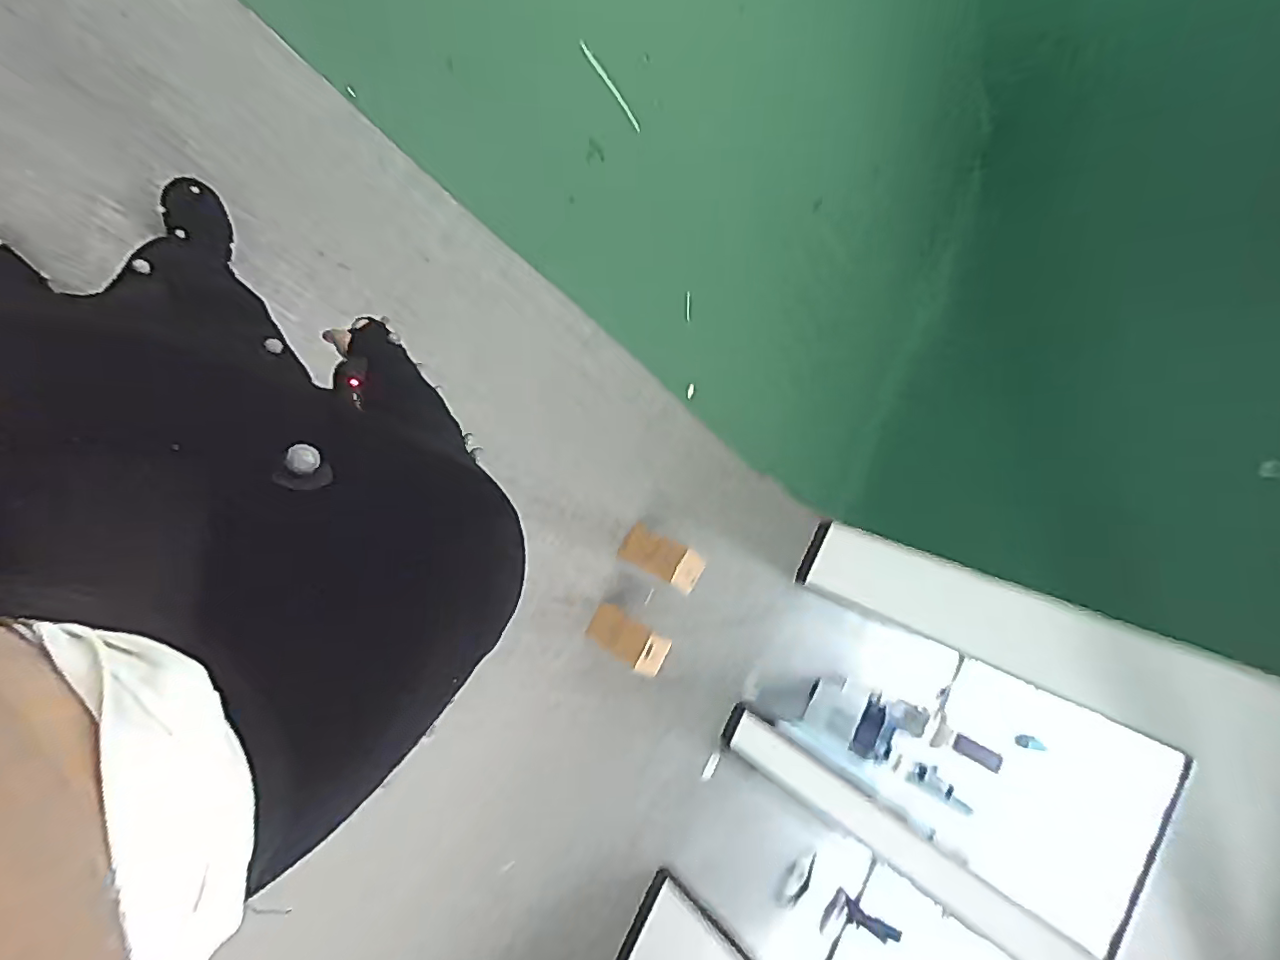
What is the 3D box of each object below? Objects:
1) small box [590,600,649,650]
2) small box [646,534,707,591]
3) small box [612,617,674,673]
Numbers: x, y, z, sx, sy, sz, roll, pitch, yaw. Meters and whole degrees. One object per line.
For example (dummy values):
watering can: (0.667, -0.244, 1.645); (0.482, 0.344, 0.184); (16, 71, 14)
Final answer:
small box: (-0.098, 0.670, 2.468); (0.168, 0.176, 0.179); (33, 82, -46)
small box: (0.155, 0.355, 2.359); (0.168, 0.176, 0.179); (-58, 136, -10)
small box: (0.011, 0.714, 2.353); (0.179, 0.176, 0.168); (35, 80, -47)
